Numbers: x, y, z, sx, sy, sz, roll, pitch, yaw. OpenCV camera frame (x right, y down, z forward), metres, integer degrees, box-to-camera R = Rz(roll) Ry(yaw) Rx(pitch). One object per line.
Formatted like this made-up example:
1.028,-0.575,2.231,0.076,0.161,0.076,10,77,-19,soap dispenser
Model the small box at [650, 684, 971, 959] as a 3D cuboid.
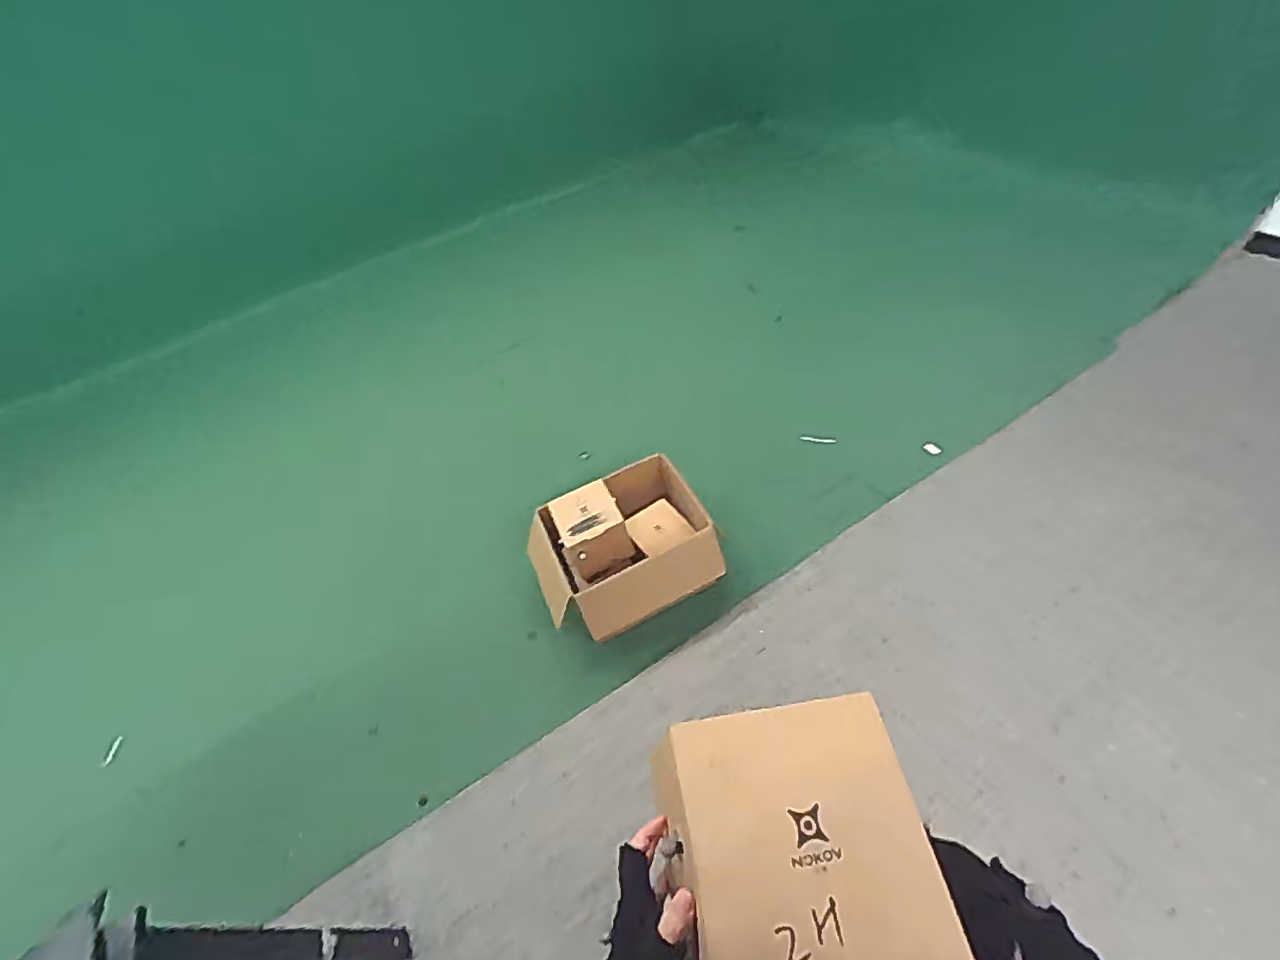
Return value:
0.106,0.284,0.434,0.168,0.176,0.179,-6,57,-9,small box
